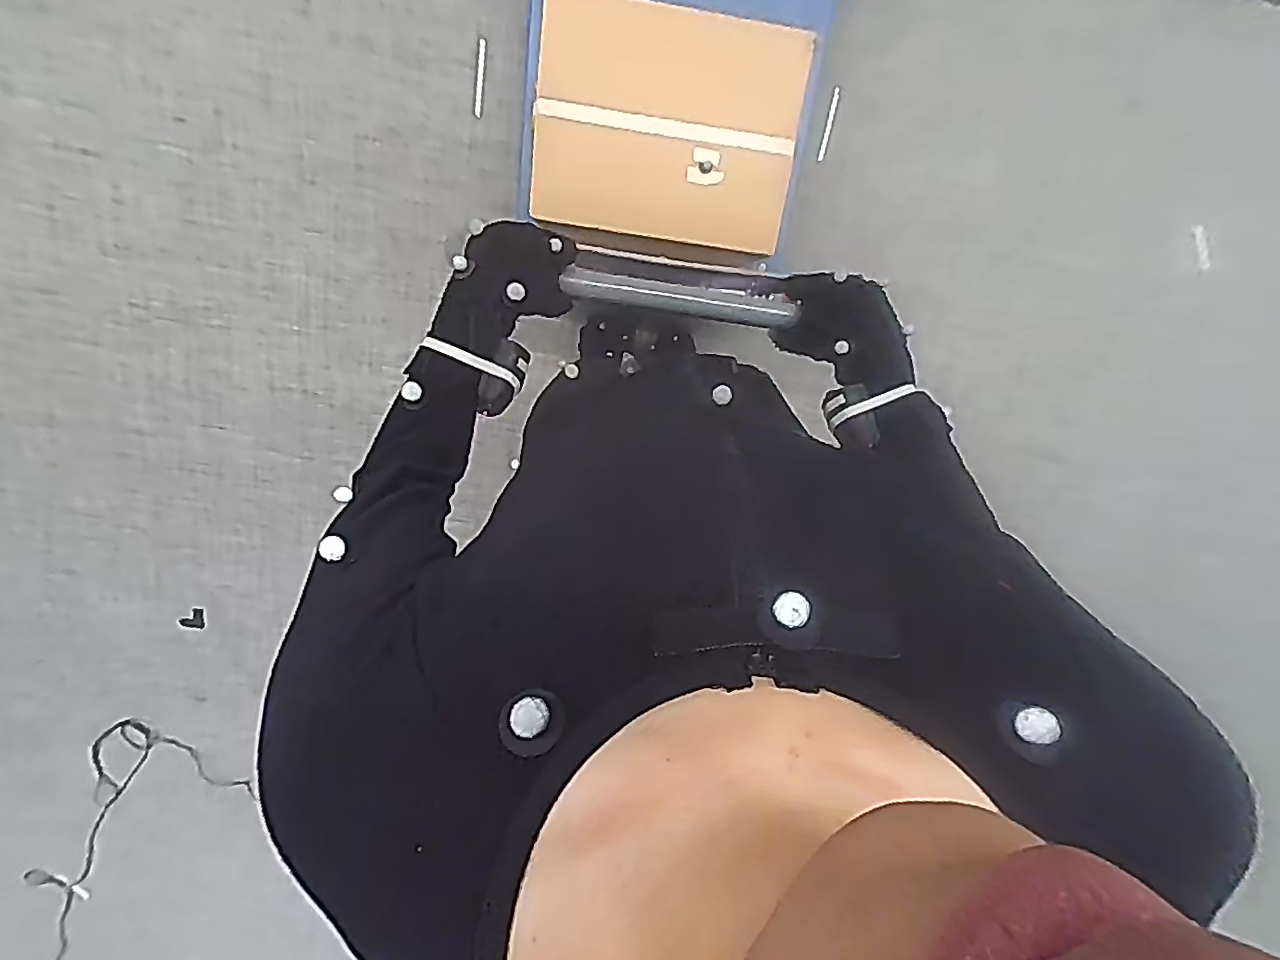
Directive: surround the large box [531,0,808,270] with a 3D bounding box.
[{"bbox_3d":[0.028,-0.575,0.973,0.408,0.320,0.320,6,108,-5],"label":"large box"}]
